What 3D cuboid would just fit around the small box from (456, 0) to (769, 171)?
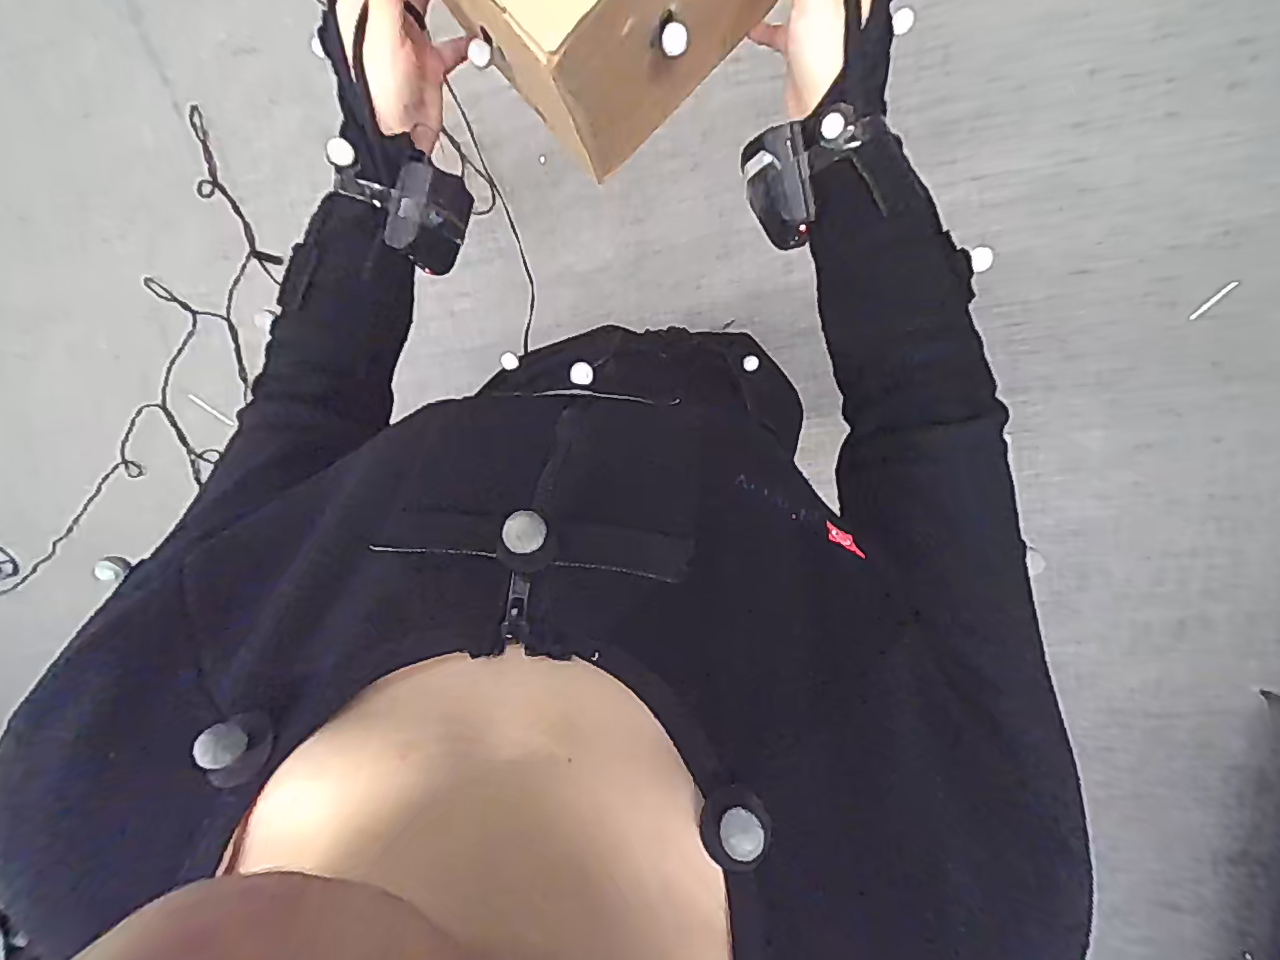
[{"bbox_3d":[-0.024,-0.326,0.315,0.179,0.176,0.168,-42,95,12],"label":"small box"}]
